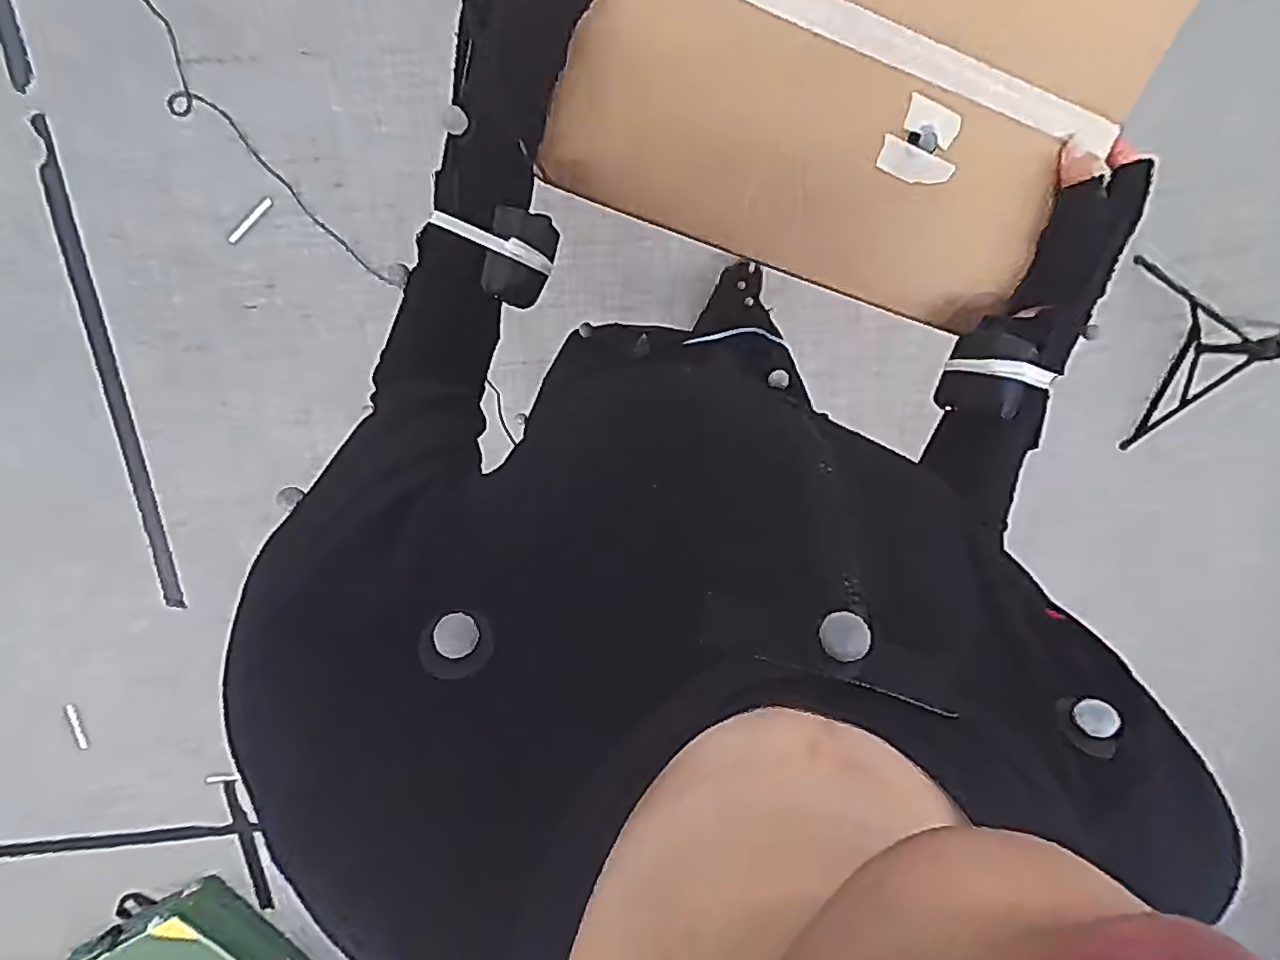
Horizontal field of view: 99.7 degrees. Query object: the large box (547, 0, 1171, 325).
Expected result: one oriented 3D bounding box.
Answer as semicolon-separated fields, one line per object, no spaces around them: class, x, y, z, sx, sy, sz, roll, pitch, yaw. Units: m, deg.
large box;0.153;-0.386;0.520;0.408;0.320;0.320;16;117;-10
